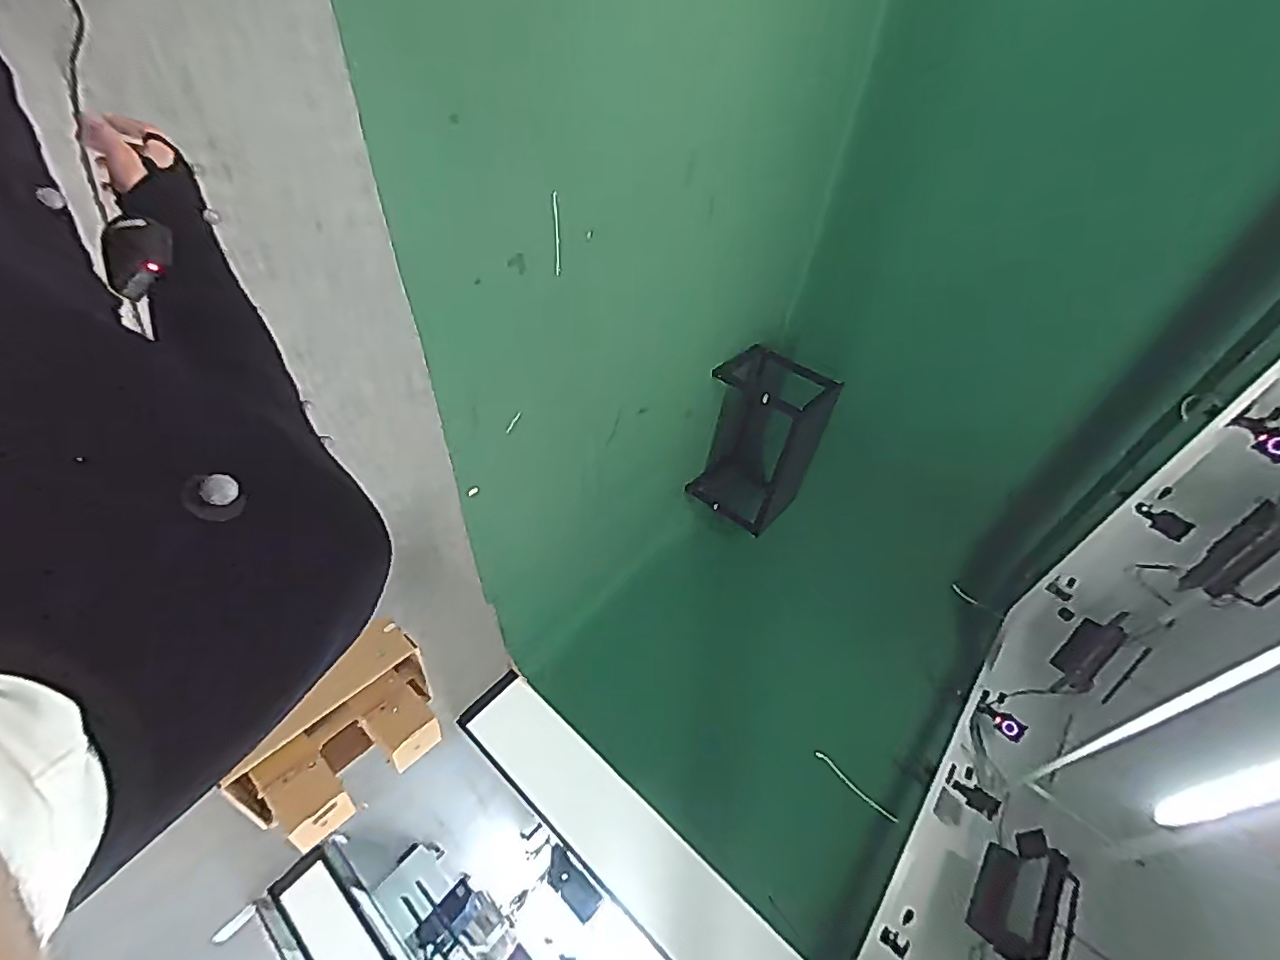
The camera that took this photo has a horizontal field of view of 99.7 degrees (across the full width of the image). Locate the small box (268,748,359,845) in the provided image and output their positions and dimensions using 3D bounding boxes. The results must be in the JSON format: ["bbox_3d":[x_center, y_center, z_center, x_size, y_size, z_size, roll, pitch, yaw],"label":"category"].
[{"bbox_3d":[-1.001,0.962,1.658,0.168,0.176,0.179,-32,146,-38],"label":"small box"}]

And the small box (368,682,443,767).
[{"bbox_3d":[-0.797,0.826,1.842,0.168,0.176,0.179,-33,147,-39],"label":"small box"}]

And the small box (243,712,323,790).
[{"bbox_3d":[-1.125,0.884,1.733,0.168,0.176,0.179,-34,146,-37],"label":"small box"}]
